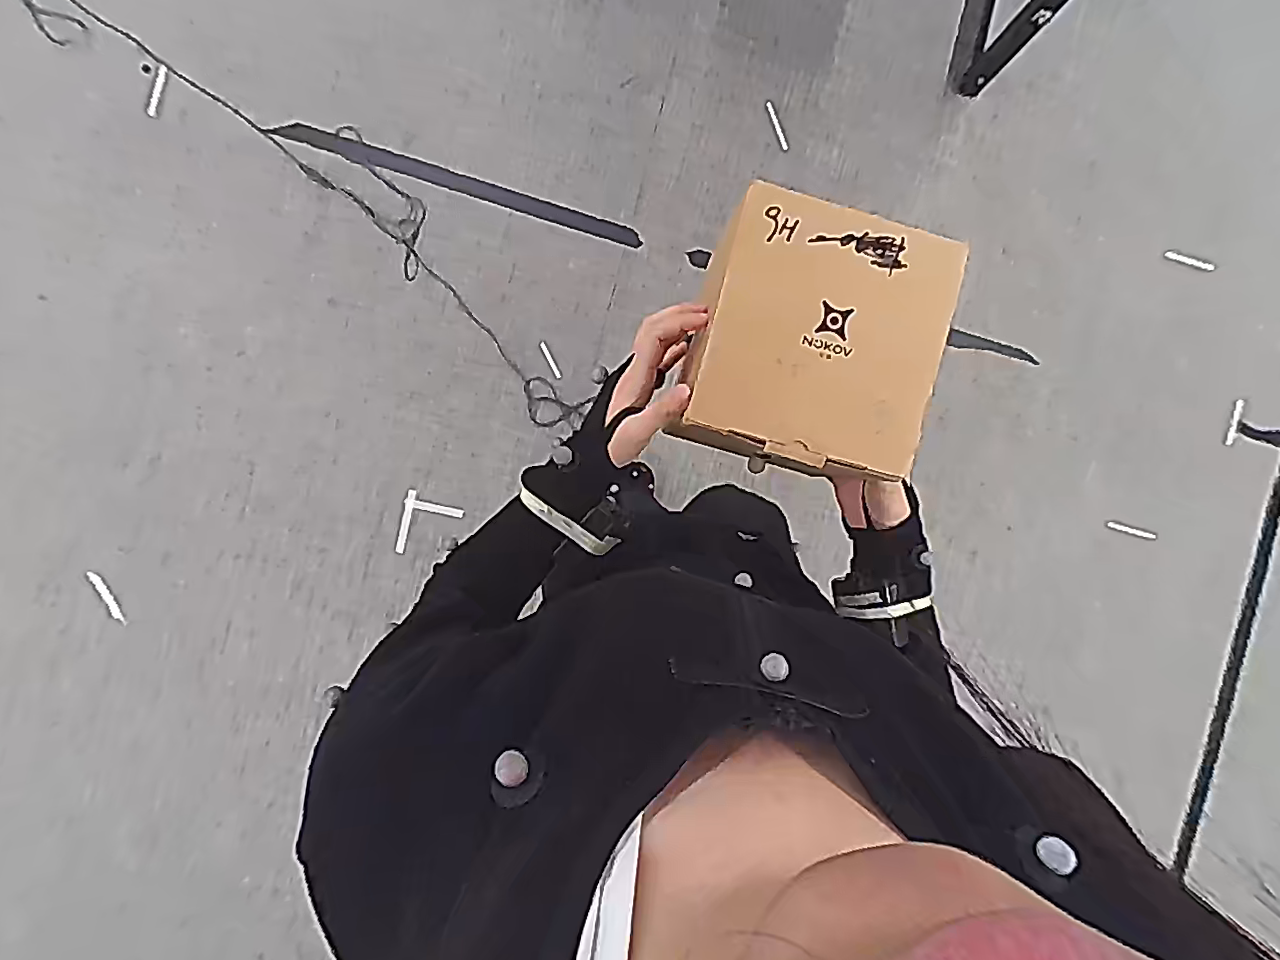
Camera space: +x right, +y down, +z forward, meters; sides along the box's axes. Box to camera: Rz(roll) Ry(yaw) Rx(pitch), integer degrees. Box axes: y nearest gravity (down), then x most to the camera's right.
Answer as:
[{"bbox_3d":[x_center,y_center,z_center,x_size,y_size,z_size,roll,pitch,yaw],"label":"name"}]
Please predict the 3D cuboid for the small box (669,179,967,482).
[{"bbox_3d":[0.127,-0.107,0.459,0.168,0.176,0.179,16,92,-4],"label":"small box"}]

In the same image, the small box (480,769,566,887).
[{"bbox_3d":[-0.296,0.900,1.412,0.168,0.176,0.179,18,90,-5],"label":"small box"}]
